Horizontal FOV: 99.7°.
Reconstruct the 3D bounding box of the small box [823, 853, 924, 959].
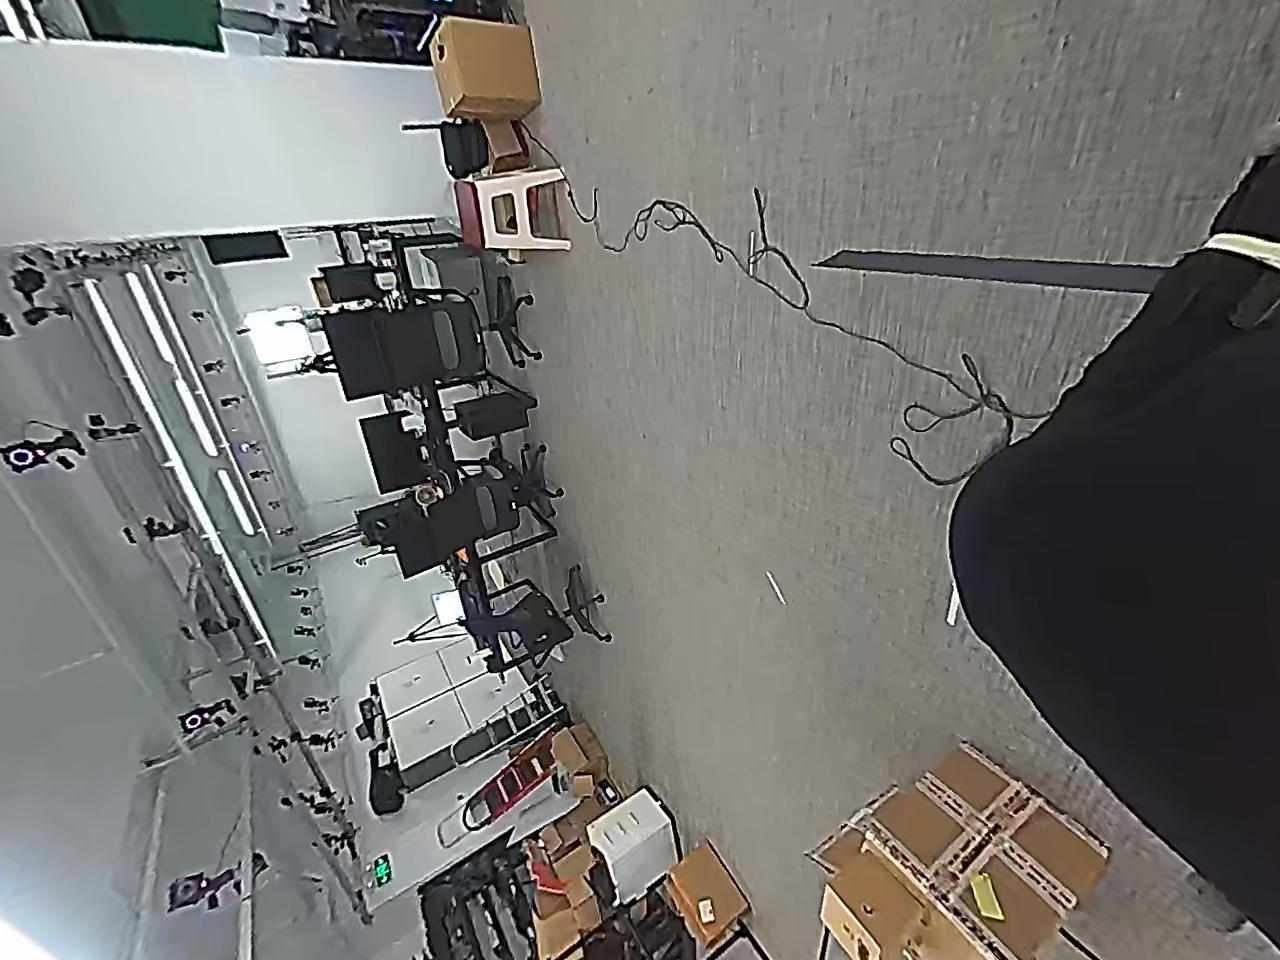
[{"bbox_3d":[0.621,1.151,1.438,0.179,0.176,0.168,35,134,52],"label":"small box"}]
